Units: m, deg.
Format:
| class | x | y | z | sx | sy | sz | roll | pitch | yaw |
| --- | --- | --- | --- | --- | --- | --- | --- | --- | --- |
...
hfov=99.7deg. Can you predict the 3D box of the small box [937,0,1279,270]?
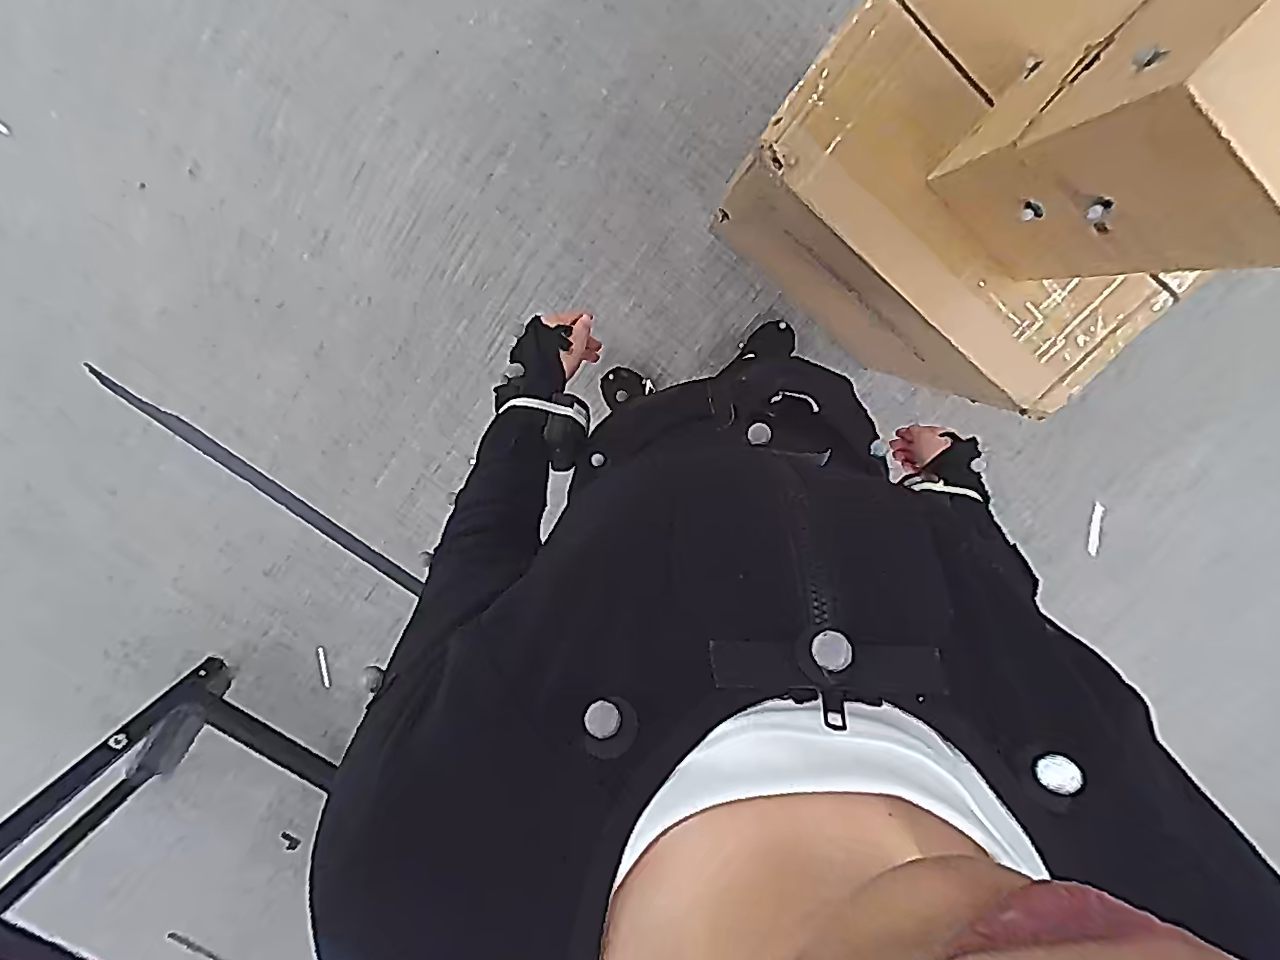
| class | x | y | z | sx | sy | sz | roll | pitch | yaw |
| --- | --- | --- | --- | --- | --- | --- | --- | --- | --- |
| small box | 0.452 | -0.335 | 0.553 | 0.179 | 0.176 | 0.168 | 39 | 105 | -10 |
